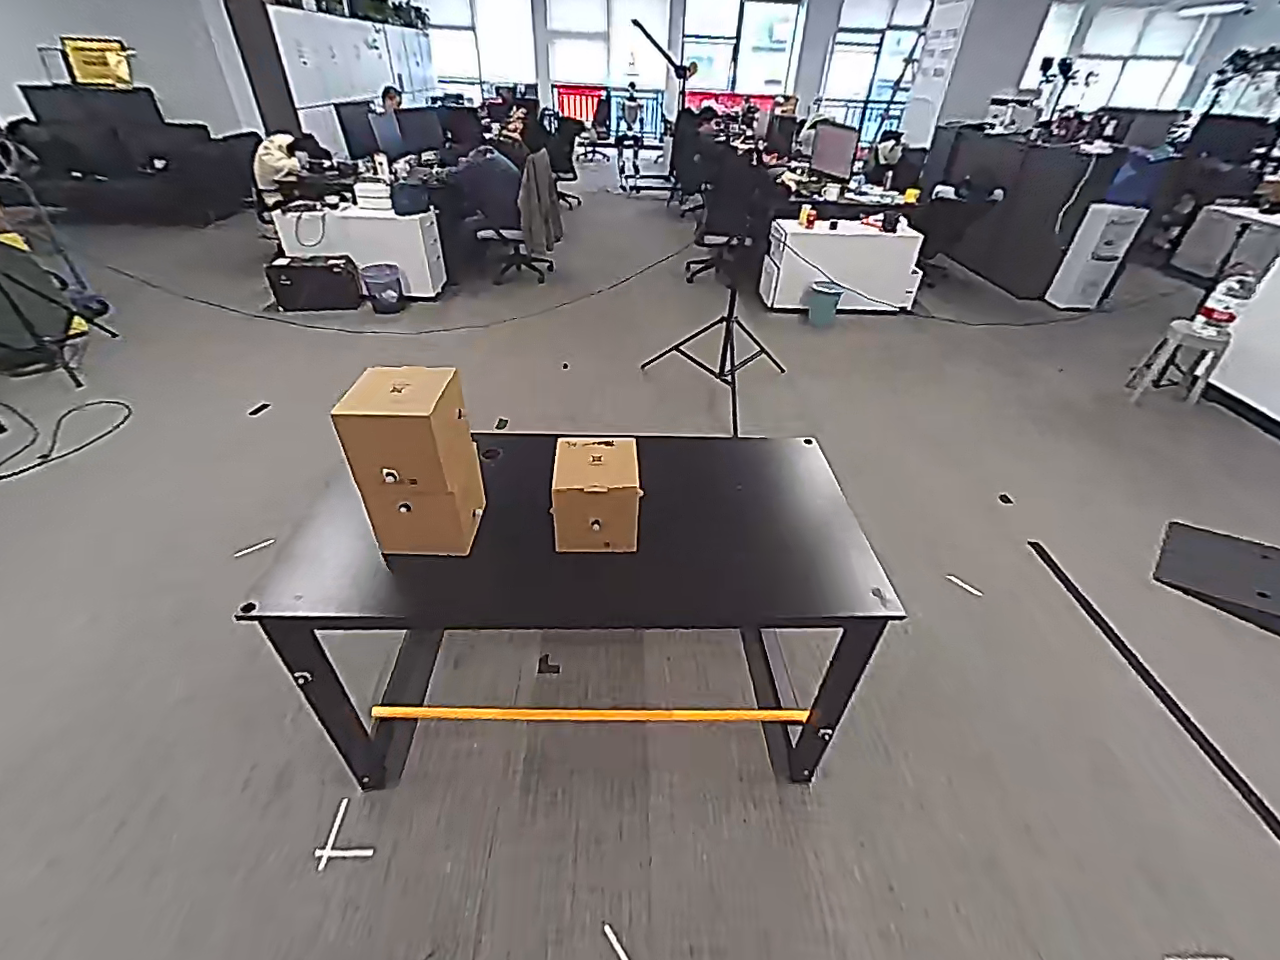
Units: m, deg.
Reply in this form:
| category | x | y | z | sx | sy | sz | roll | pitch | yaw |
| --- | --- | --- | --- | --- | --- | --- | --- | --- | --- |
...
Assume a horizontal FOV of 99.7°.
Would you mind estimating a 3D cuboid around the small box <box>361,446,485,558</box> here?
| category | x | y | z | sx | sy | sz | roll | pitch | yaw |
| --- | --- | --- | --- | --- | --- | --- | --- | --- | --- |
| small box | -0.427 | 0.043 | 1.098 | 0.179 | 0.176 | 0.168 | 2 | 37 | -2 |

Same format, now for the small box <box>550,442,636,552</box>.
| category | x | y | z | sx | sy | sz | roll | pitch | yaw |
| --- | --- | --- | --- | --- | --- | --- | --- | --- | --- |
| small box | -0.092 | 0.037 | 1.128 | 0.168 | 0.176 | 0.179 | 0 | 37 | -3 |

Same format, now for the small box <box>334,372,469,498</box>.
| category | x | y | z | sx | sy | sz | roll | pitch | yaw |
| --- | --- | --- | --- | --- | --- | --- | --- | --- | --- |
| small box | -0.424 | -0.086 | 0.999 | 0.168 | 0.176 | 0.179 | 0 | 38 | -1 |
